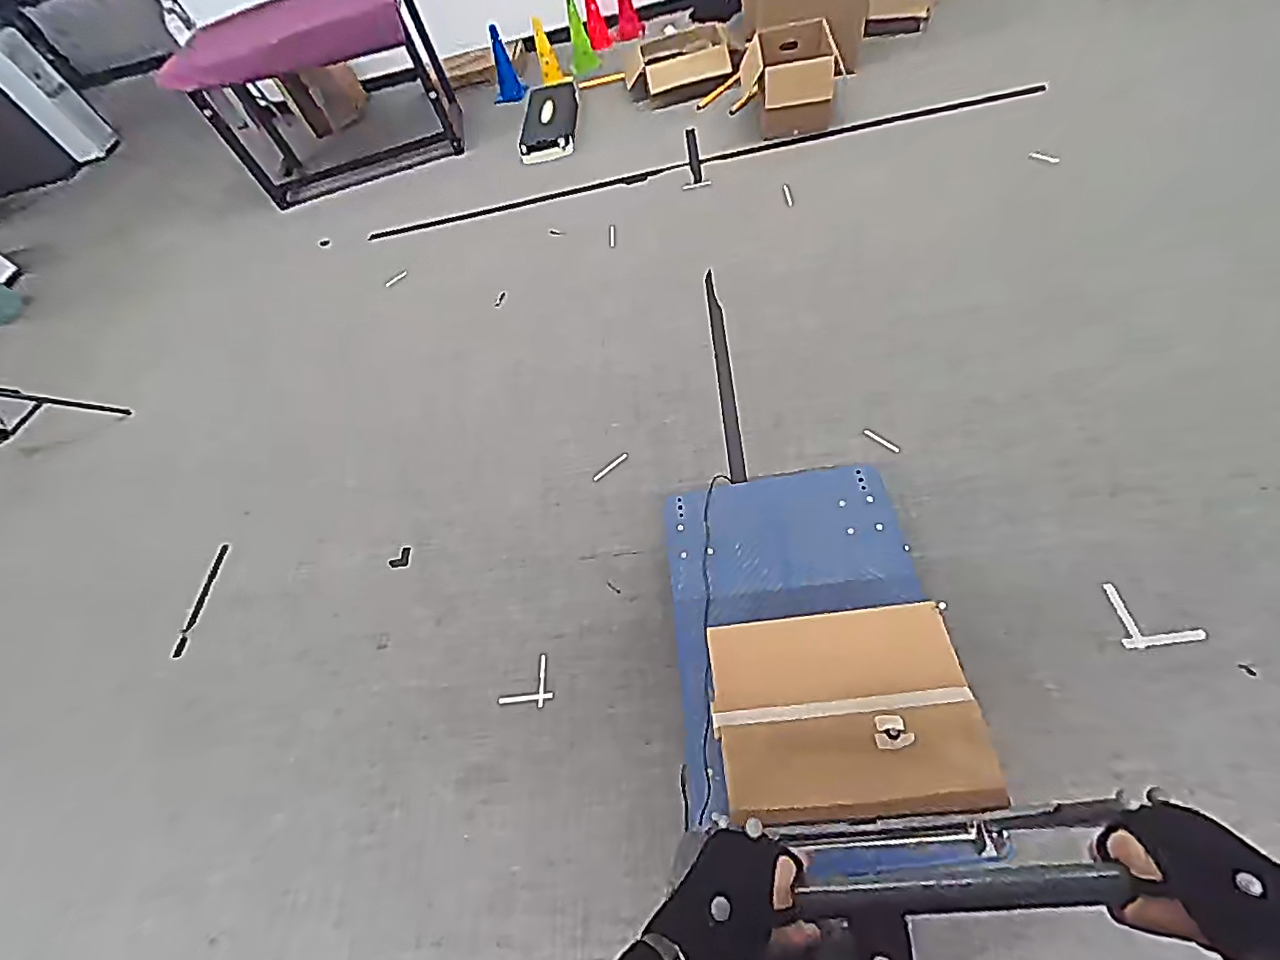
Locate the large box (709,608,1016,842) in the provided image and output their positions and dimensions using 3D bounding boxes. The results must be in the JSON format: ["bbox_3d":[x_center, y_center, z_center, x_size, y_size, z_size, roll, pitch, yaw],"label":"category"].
[{"bbox_3d":[0.354,0.457,0.987,0.408,0.320,0.320,-9,57,6],"label":"large box"}]
